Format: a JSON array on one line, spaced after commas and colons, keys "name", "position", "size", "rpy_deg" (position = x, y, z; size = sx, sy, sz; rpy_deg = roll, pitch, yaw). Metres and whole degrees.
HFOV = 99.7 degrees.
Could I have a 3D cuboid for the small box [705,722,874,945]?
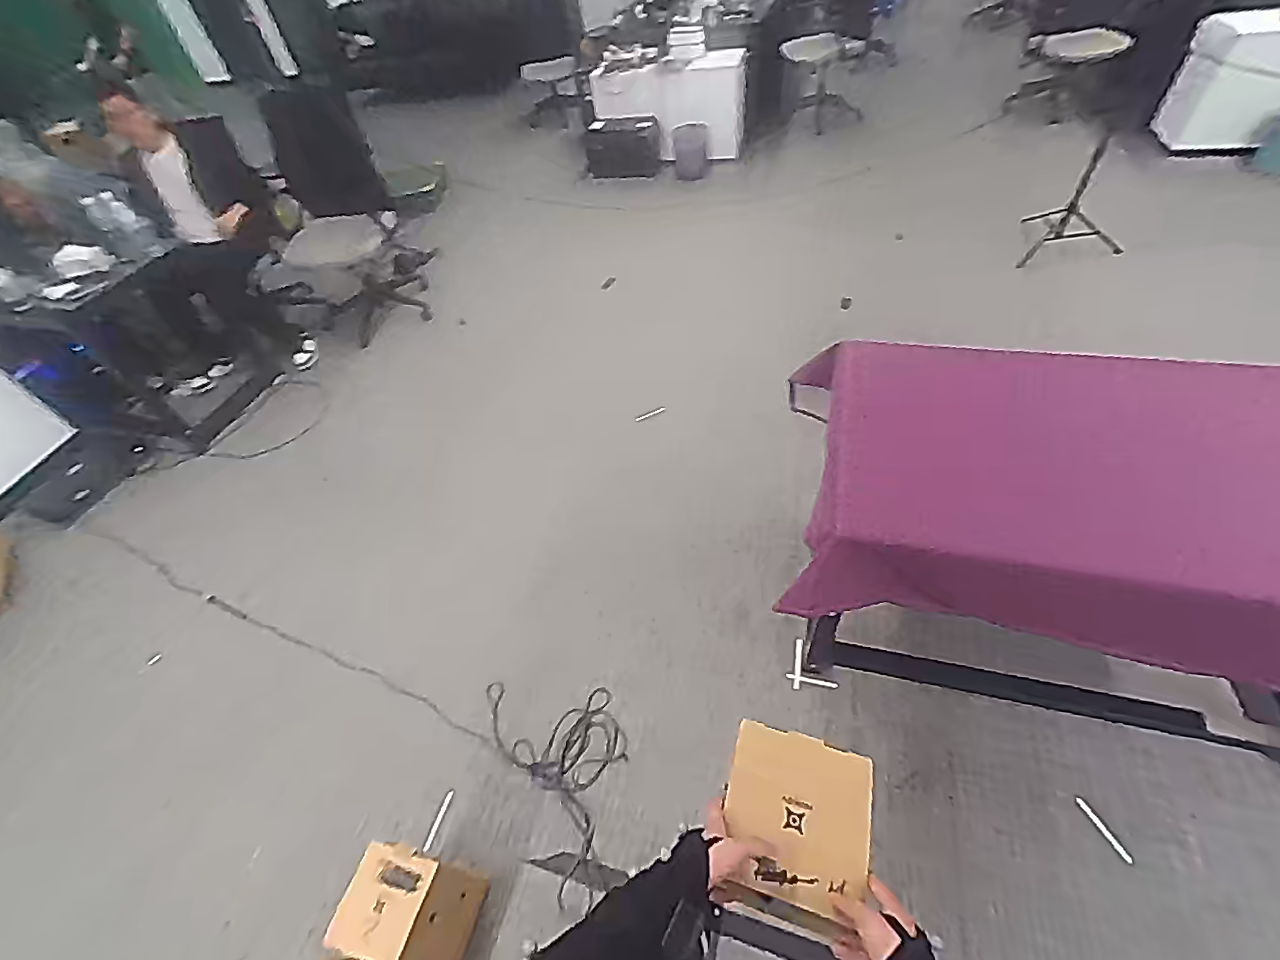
[{"name": "small box", "position": [0.181, 0.442, 0.678], "size": [0.168, 0.176, 0.179], "rpy_deg": [13, 50, 15]}]
